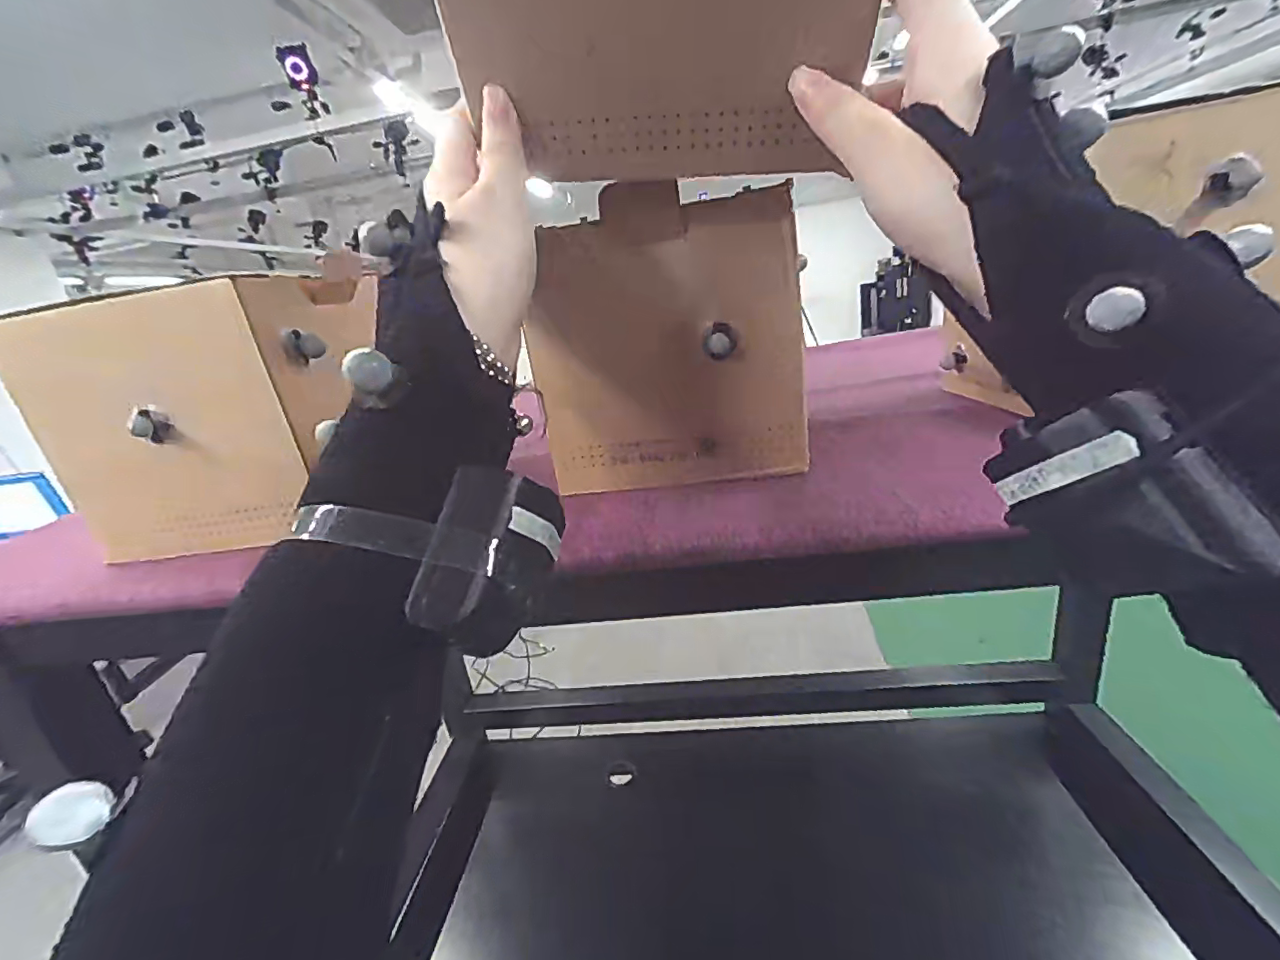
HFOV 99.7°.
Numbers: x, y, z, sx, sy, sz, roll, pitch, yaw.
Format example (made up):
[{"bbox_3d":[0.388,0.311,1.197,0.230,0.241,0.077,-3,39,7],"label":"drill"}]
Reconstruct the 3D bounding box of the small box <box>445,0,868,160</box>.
[{"bbox_3d":[0.008,-0.263,0.239,0.179,0.176,0.168,1,55,6],"label":"small box"}]

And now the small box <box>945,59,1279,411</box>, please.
[{"bbox_3d":[0.331,-0.147,0.362,0.179,0.176,0.168,-7,17,7],"label":"small box"}]

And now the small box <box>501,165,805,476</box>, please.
[{"bbox_3d":[0.023,-0.105,0.394,0.168,0.176,0.179,-5,19,10],"label":"small box"}]
